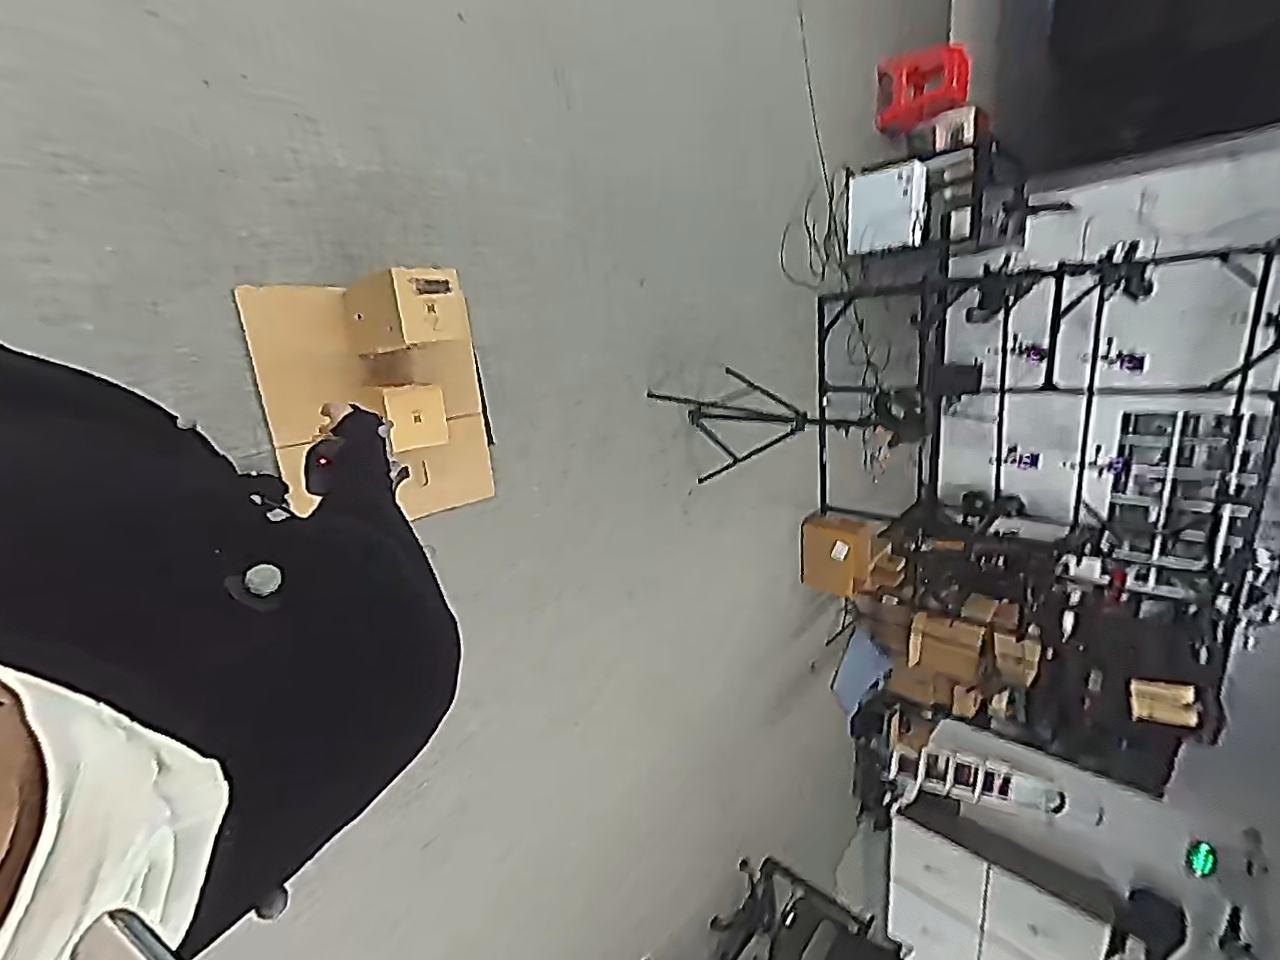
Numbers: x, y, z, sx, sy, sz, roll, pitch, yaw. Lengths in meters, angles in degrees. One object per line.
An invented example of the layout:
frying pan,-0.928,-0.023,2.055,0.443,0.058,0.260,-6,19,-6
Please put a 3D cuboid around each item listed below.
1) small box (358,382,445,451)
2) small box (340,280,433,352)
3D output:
small box,-0.684,-0.189,1.552,0.168,0.176,0.179,-17,109,-43
small box,-0.698,-0.446,1.489,0.168,0.176,0.179,-19,110,-44
